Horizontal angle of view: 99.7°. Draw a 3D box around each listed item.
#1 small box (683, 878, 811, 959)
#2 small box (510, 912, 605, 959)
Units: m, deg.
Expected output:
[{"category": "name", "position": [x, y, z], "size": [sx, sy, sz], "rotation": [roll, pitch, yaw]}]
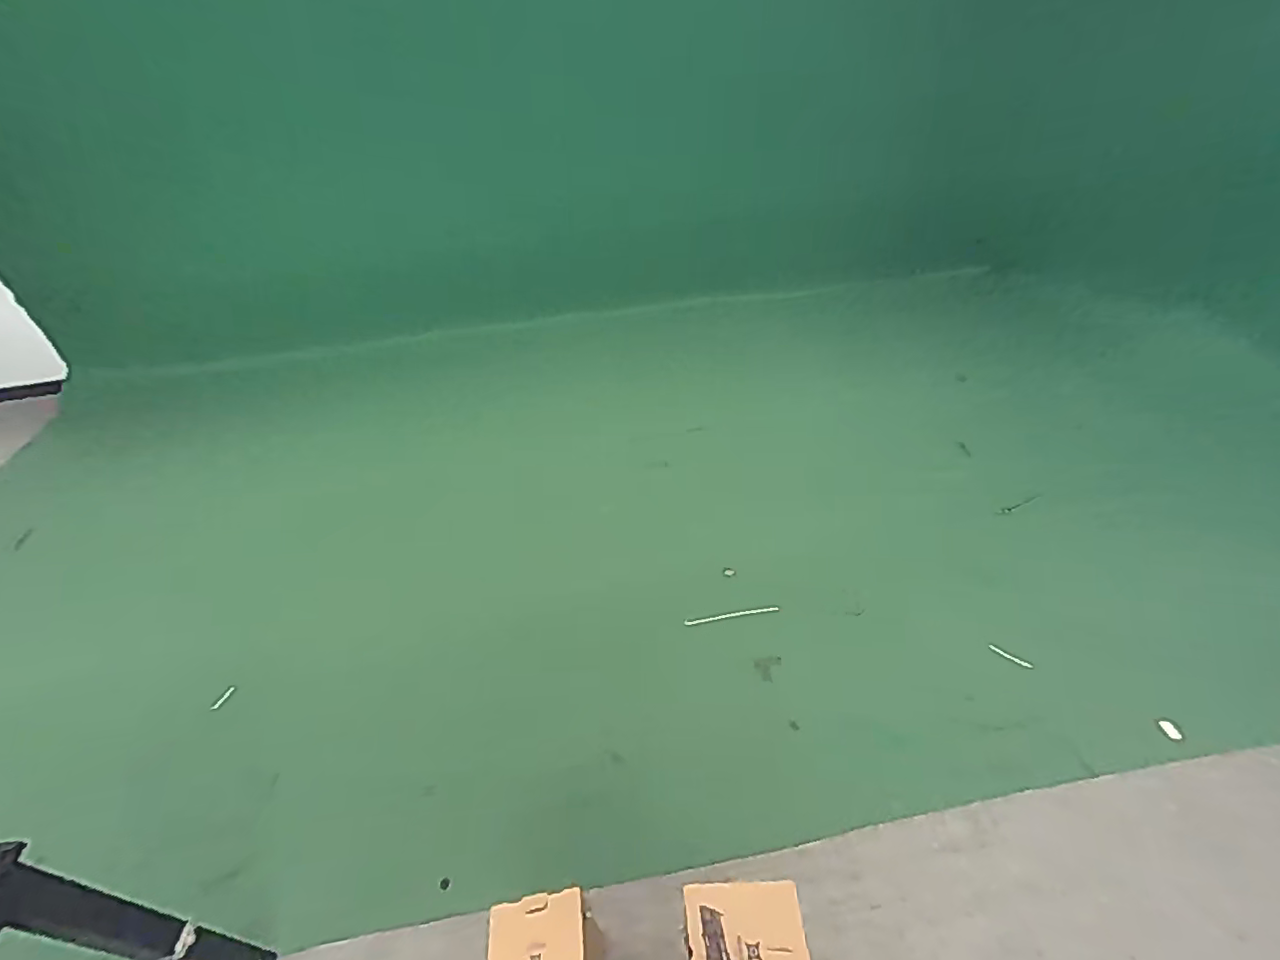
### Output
[{"category": "small box", "position": [0.160, 0.728, 0.824], "size": [0.179, 0.176, 0.168], "rotation": [-3, 41, 2]}, {"category": "small box", "position": [-0.155, 0.989, 1.062], "size": [0.168, 0.176, 0.179], "rotation": [-10, 42, -5]}]
